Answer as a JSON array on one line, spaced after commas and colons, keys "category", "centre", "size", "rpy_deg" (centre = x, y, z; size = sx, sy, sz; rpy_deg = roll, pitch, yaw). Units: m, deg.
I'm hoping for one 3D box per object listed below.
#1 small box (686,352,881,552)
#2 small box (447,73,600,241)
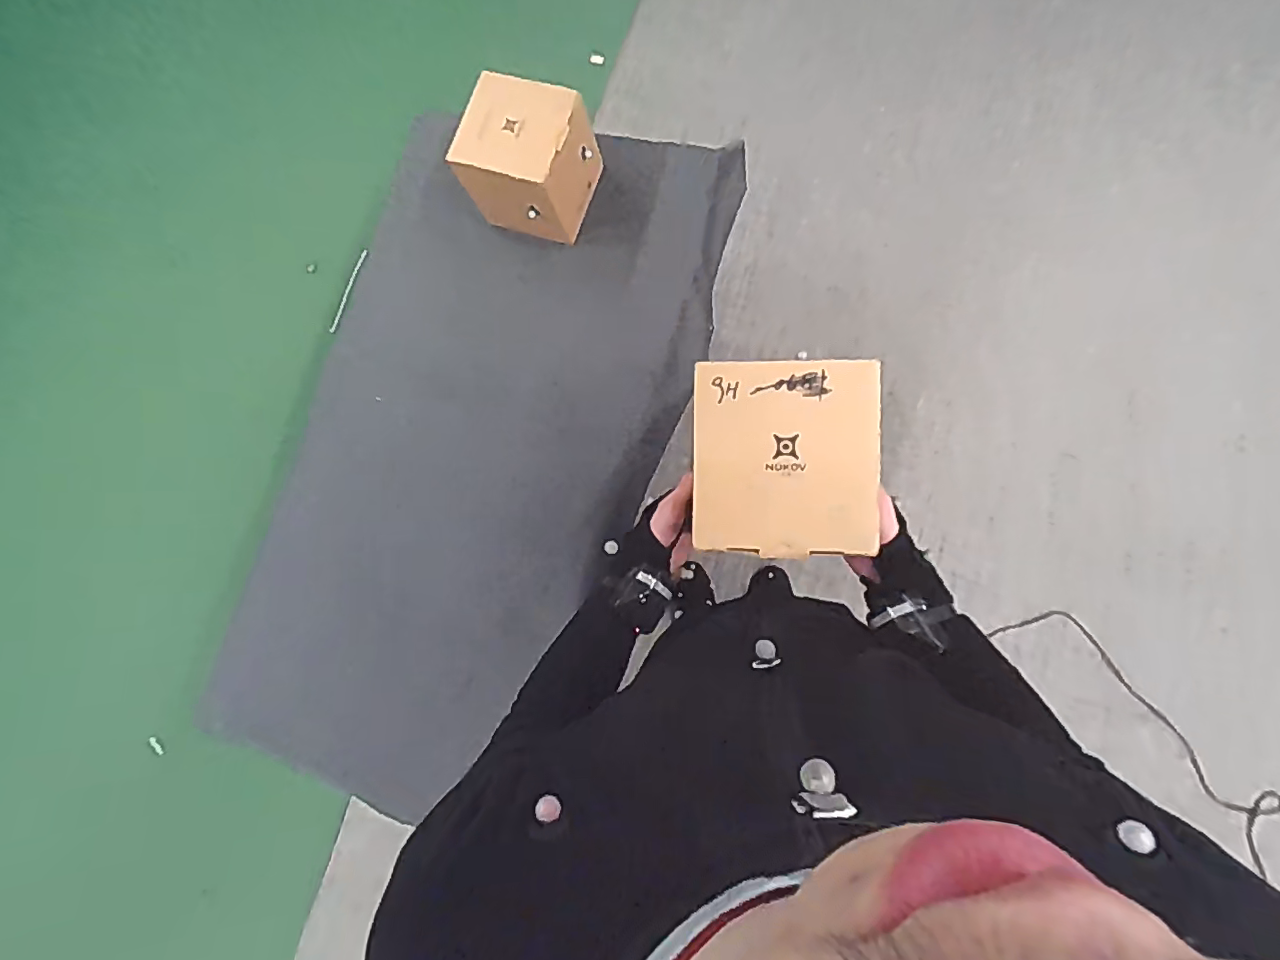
[{"category": "small box", "centre": [0.135, -0.027, 0.556], "size": [0.168, 0.176, 0.179], "rpy_deg": [1, 90, 6]}, {"category": "small box", "centre": [-0.185, -0.537, 0.918], "size": [0.179, 0.176, 0.168], "rpy_deg": [19, 83, 12]}]
